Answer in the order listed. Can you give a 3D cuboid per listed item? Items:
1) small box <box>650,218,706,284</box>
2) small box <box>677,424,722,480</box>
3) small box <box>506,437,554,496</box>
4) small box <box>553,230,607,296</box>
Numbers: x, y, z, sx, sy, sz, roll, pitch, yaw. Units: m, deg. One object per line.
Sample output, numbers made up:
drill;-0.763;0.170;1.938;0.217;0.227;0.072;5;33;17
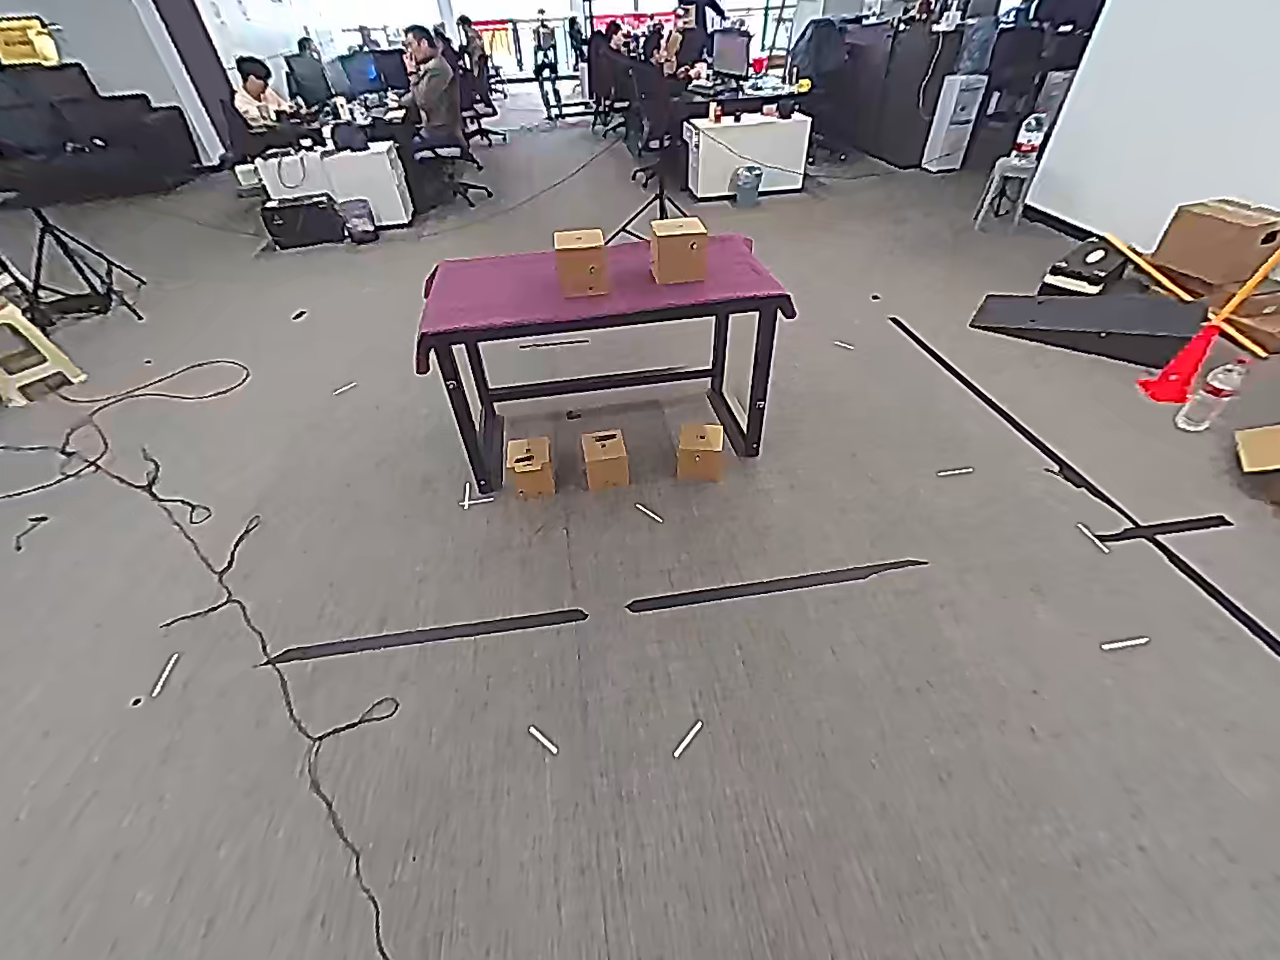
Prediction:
small box;0.130;-0.812;1.919;0.179;0.176;0.168;-7;42;-4
small box;0.245;-0.114;2.233;0.179;0.176;0.168;3;43;8
small box;-0.442;-0.050;2.199;0.168;0.176;0.179;-7;42;-5
small box;-0.208;-0.745;1.867;0.168;0.176;0.179;-6;40;-5
